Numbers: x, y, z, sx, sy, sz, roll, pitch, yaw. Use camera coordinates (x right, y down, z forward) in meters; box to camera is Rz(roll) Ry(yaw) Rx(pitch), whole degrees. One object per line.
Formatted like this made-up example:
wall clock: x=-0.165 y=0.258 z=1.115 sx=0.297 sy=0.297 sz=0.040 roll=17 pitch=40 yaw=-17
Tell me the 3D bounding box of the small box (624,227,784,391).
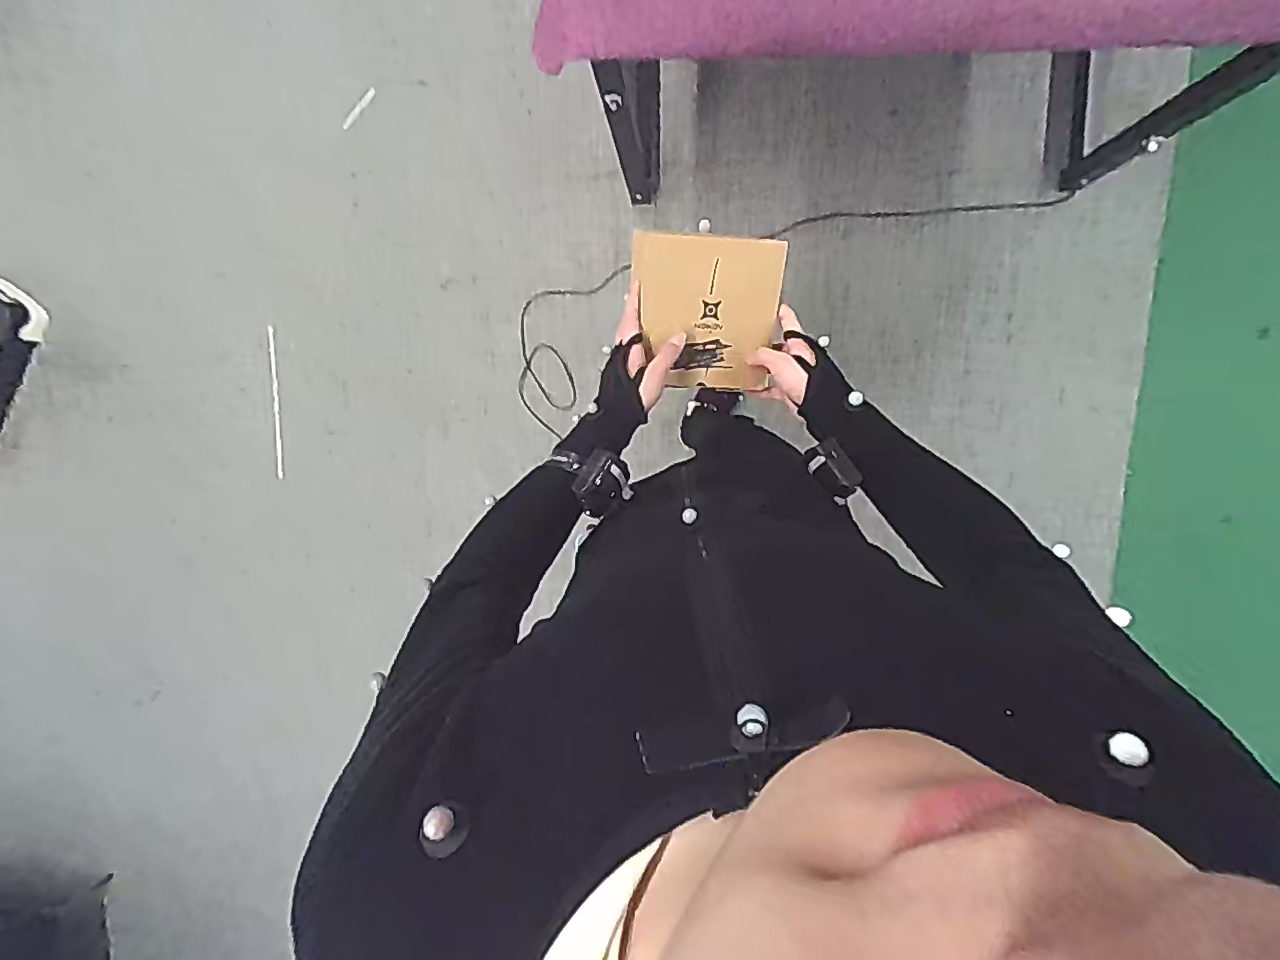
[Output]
small box: x=0.068 y=-0.226 z=0.703 sx=0.168 sy=0.176 sz=0.179 roll=1 pitch=115 yaw=-7
